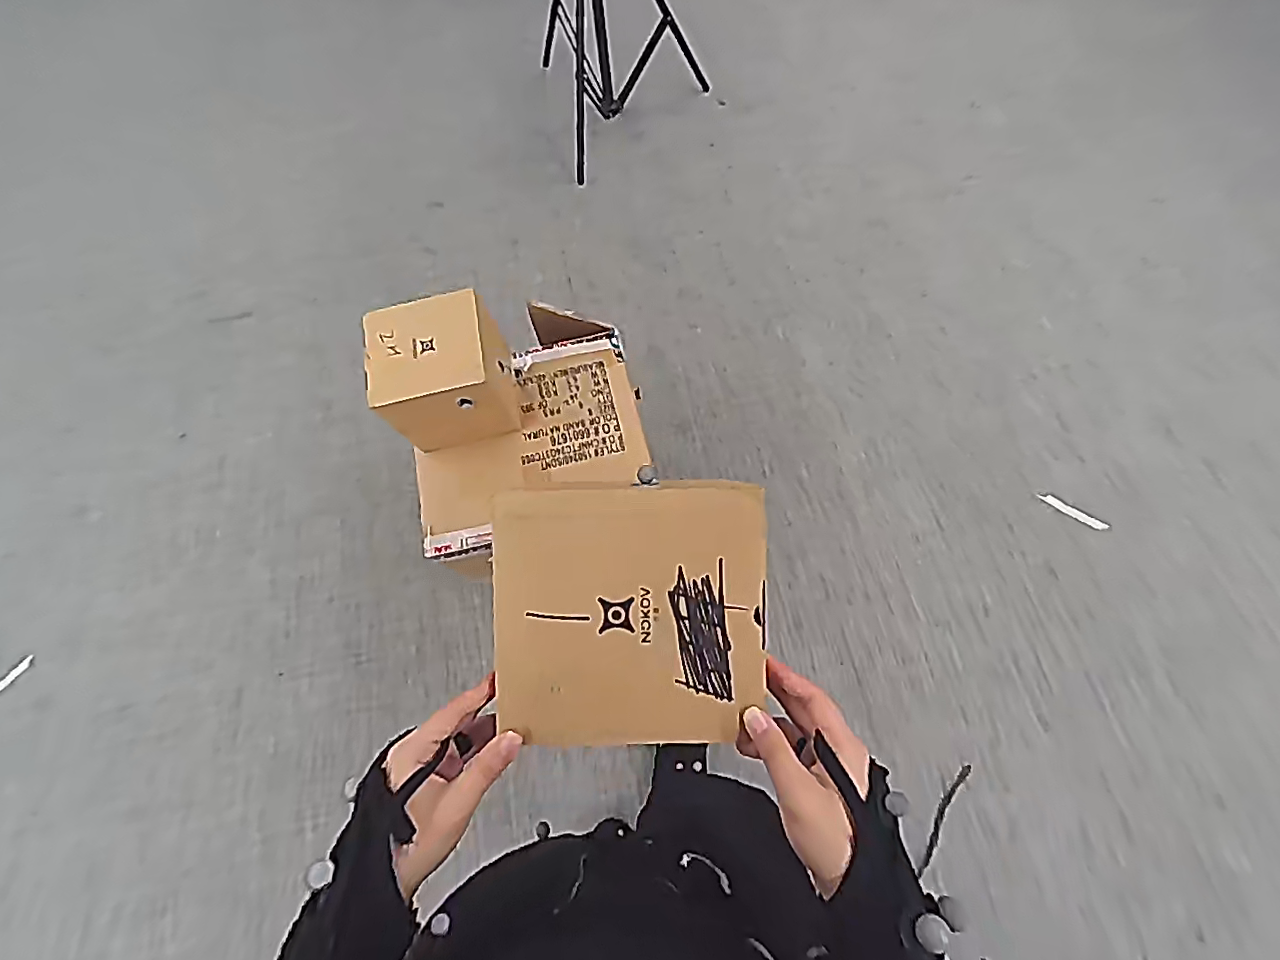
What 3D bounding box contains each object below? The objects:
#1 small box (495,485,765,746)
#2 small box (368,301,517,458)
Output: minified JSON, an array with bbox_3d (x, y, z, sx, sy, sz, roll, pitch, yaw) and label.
[{"bbox_3d":[-0.007,0.089,0.432,0.179,0.176,0.168,-1,90,0],"label":"small box"},{"bbox_3d":[-0.307,-0.153,0.868,0.179,0.176,0.168,-13,70,2],"label":"small box"}]
